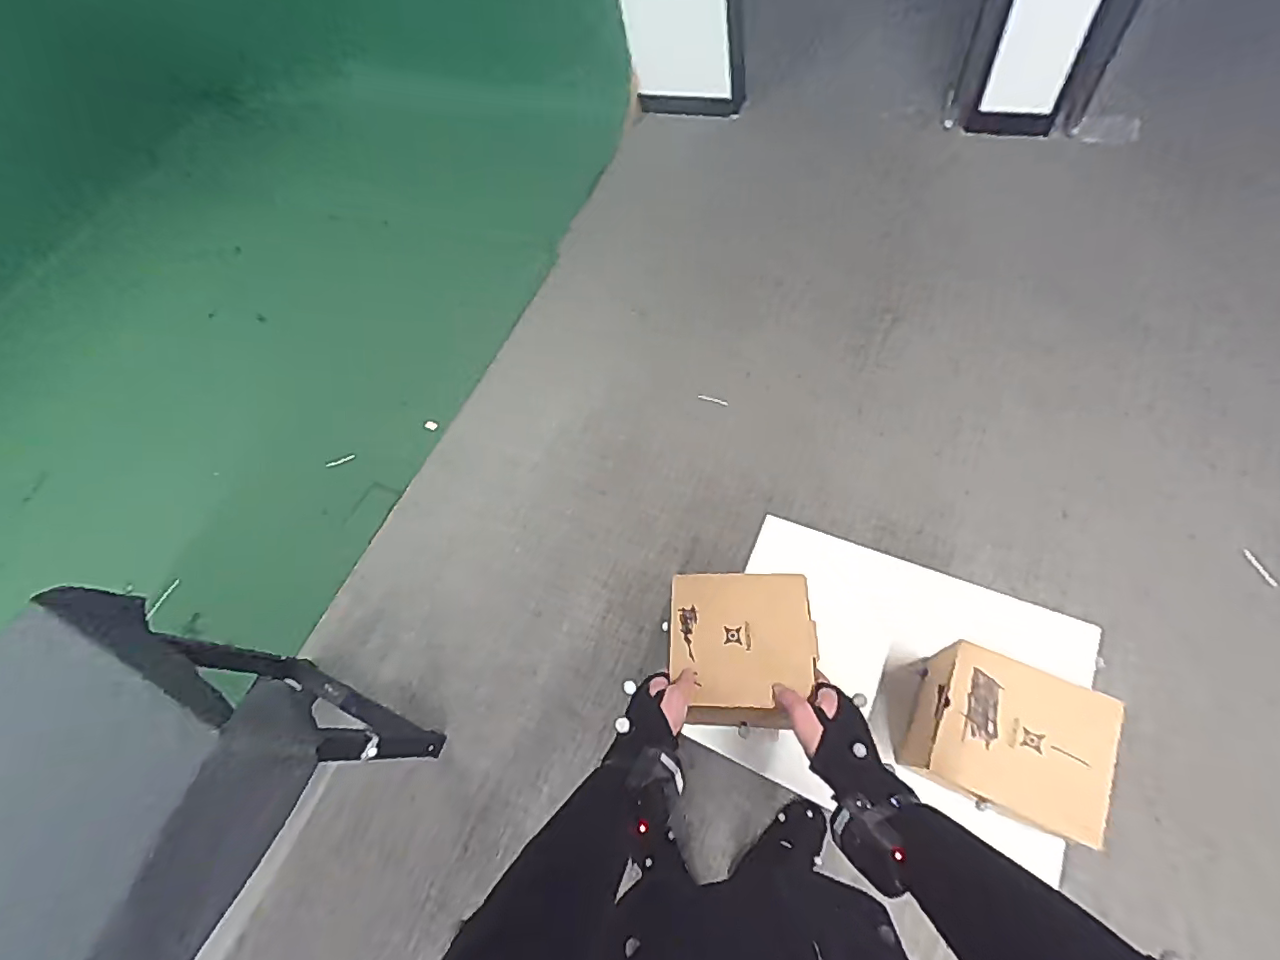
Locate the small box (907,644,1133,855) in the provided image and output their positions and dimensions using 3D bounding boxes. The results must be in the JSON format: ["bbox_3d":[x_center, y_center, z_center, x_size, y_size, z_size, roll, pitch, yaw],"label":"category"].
[{"bbox_3d":[0.463,0.334,0.685,0.179,0.176,0.168,20,68,19],"label":"small box"}]

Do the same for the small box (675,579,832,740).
[{"bbox_3d":[0.138,0.240,0.713,0.179,0.176,0.168,-2,56,7],"label":"small box"}]
